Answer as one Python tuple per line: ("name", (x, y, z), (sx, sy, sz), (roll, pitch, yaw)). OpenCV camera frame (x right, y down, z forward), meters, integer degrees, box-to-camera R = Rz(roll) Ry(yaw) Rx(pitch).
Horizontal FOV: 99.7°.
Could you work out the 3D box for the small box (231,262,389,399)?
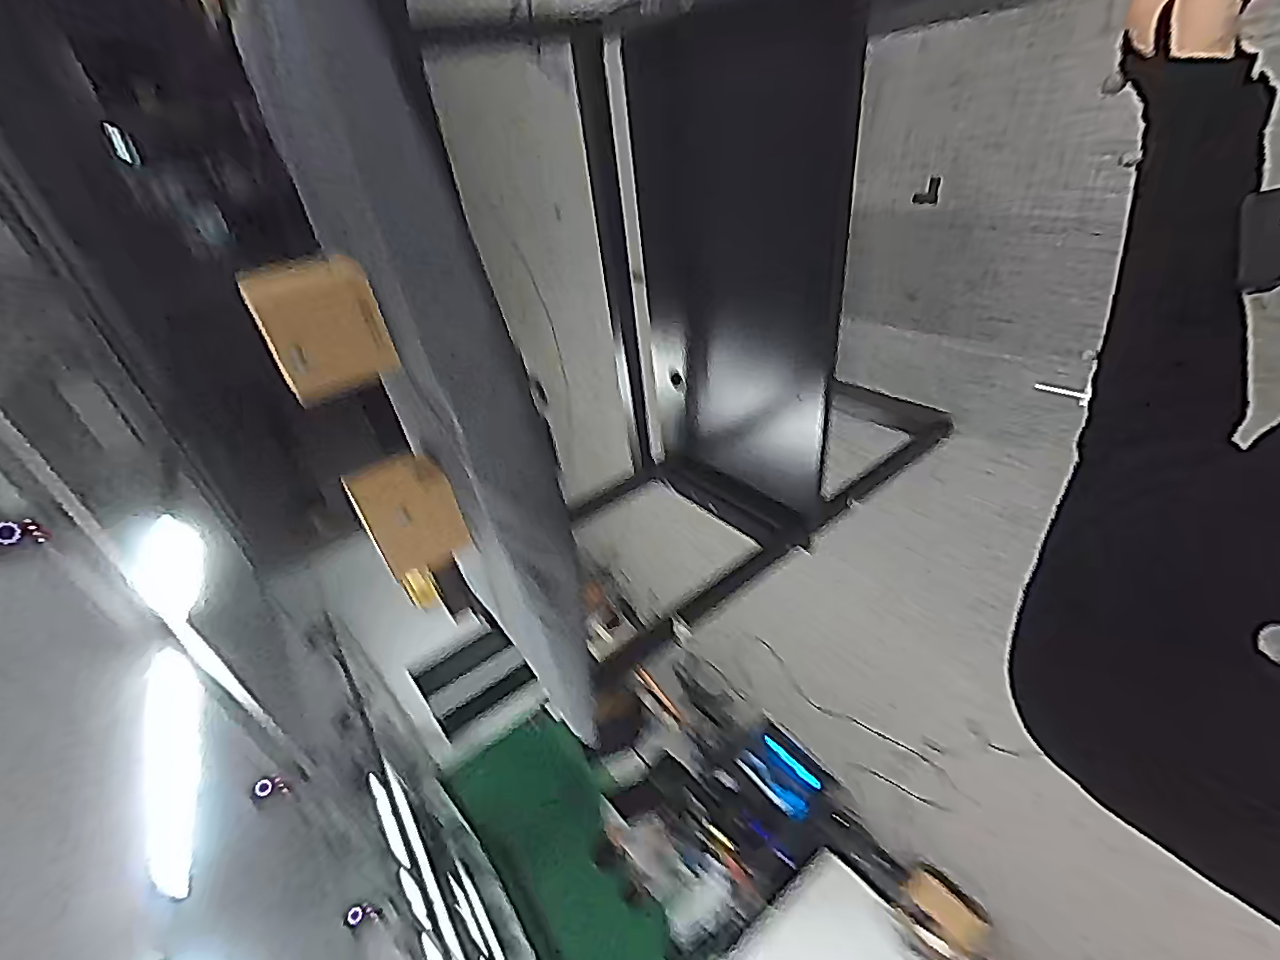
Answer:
("small box", (-0.546, -0.259, 0.907), (0.179, 0.176, 0.168), (32, 142, 45))
